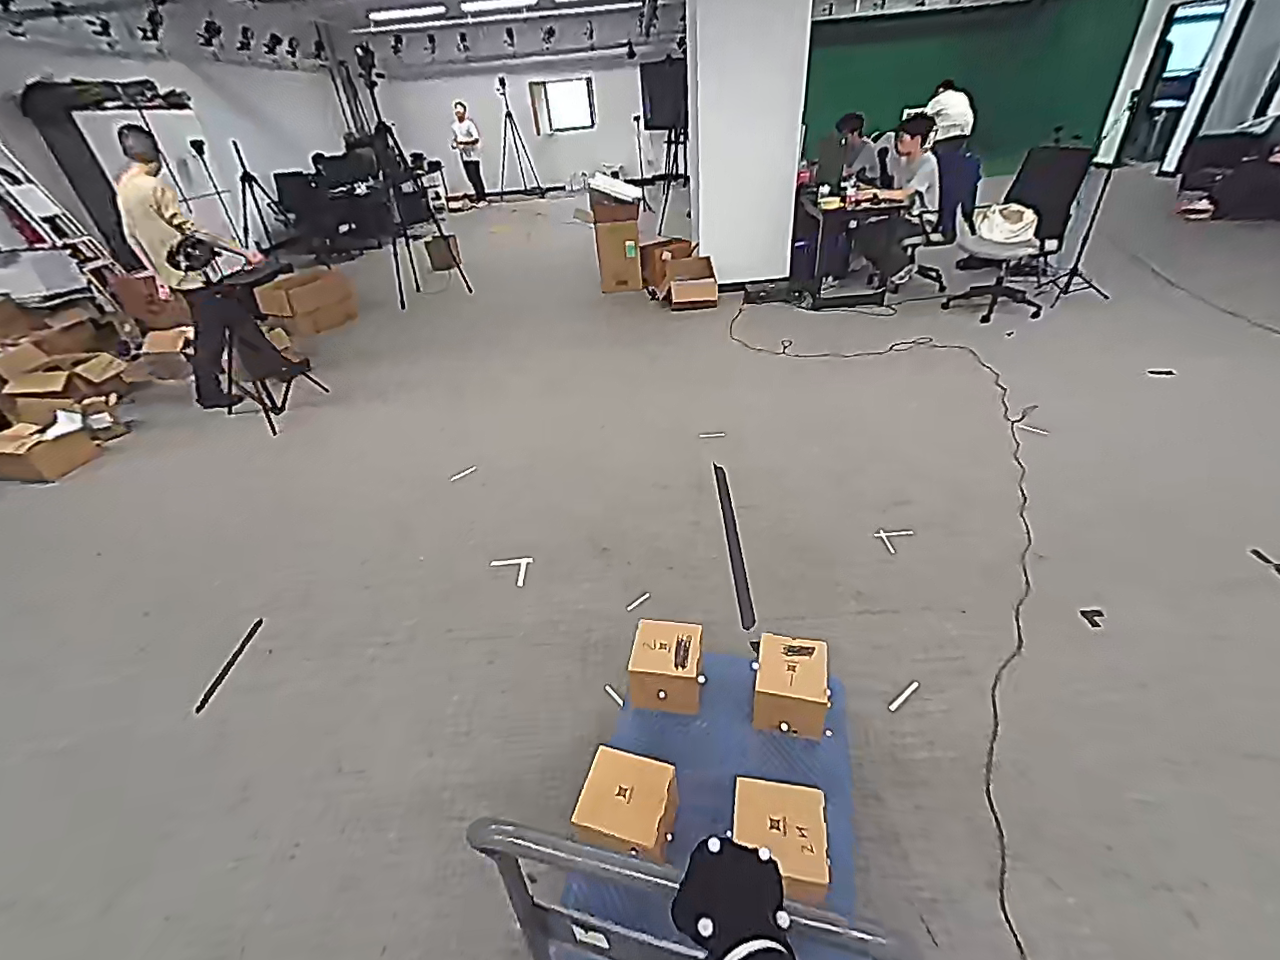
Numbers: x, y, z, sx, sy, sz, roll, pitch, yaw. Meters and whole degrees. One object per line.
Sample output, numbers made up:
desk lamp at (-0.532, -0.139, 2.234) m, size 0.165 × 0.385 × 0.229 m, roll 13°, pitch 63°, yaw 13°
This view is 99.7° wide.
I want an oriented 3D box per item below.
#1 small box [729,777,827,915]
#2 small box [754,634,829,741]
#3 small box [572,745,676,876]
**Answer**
small box at (0.274, 0.735, 1.086) m, size 0.179 × 0.176 × 0.168 m, roll 3°, pitch 36°, yaw 13°
small box at (0.383, 0.525, 1.374) m, size 0.168 × 0.176 × 0.179 m, roll 5°, pitch 37°, yaw 16°
small box at (-0.026, 0.712, 1.164) m, size 0.179 × 0.176 × 0.168 m, roll 8°, pitch 36°, yaw 16°
